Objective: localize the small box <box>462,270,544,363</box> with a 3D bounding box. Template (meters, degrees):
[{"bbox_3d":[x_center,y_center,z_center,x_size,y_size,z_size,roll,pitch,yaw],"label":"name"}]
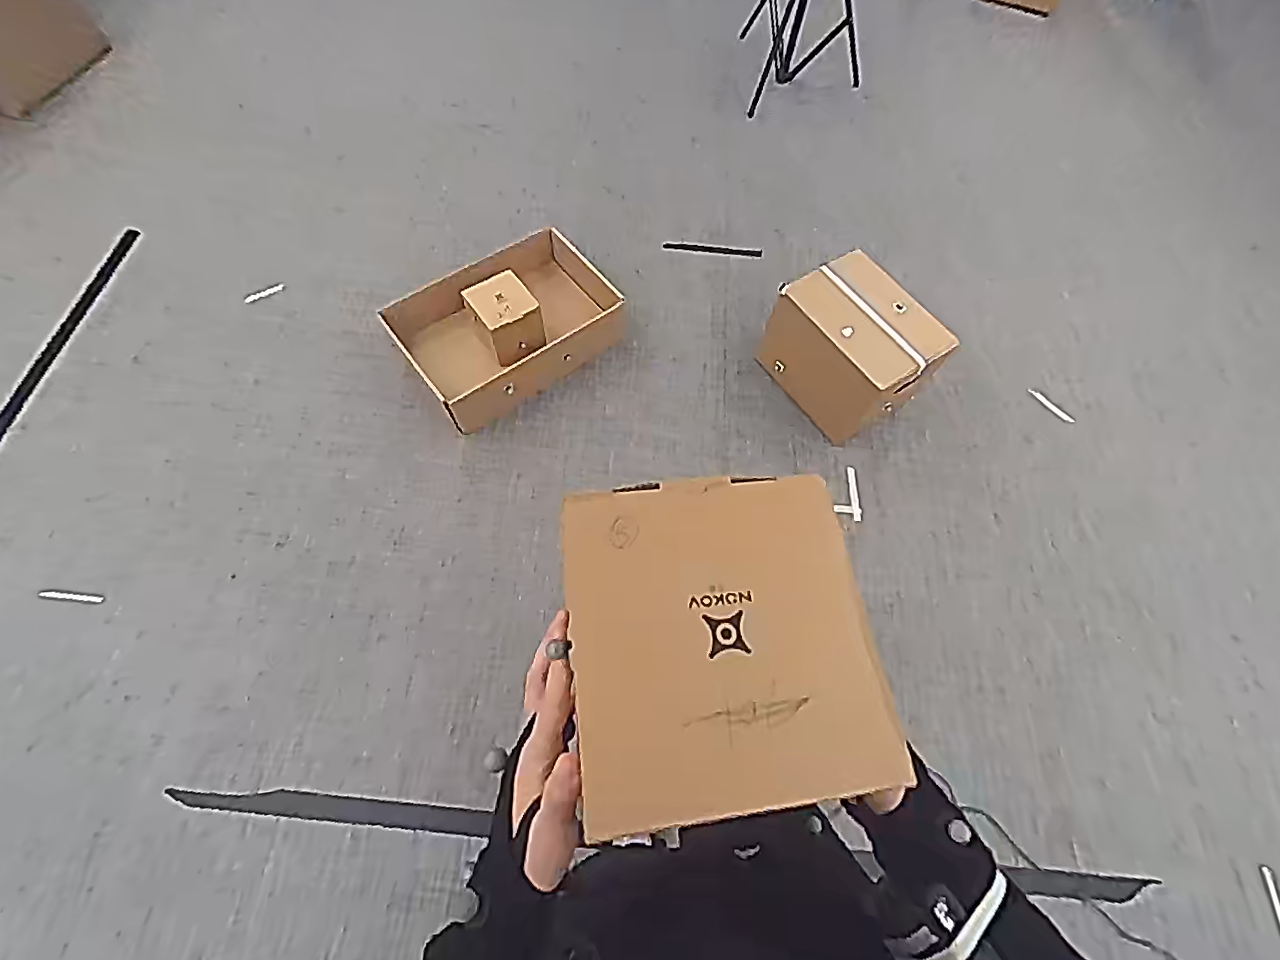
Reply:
[{"bbox_3d":[-0.407,-0.488,1.629,0.168,0.176,0.179,-33,71,-16],"label":"small box"}]

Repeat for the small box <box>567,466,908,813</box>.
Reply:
[{"bbox_3d":[0.037,0.107,0.368,0.168,0.176,0.179,-4,65,-9],"label":"small box"}]
